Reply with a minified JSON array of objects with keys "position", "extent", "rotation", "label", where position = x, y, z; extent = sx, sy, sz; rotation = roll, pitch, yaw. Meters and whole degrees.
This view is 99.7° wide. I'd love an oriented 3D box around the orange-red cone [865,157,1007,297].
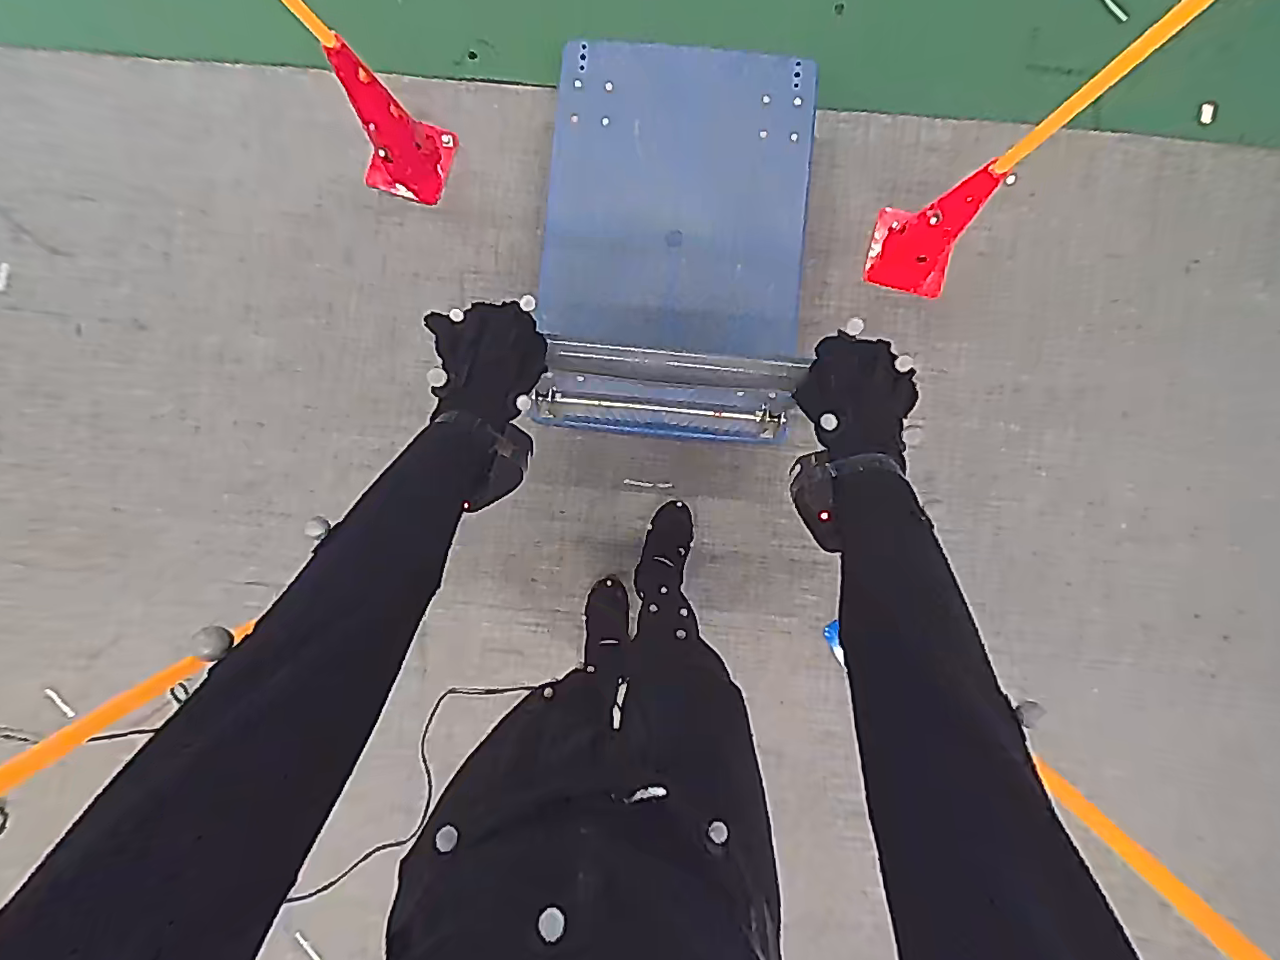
[{"position":[0.680,-0.582,1.193],"extent":[0.198,0.360,0.199],"rotation":[16,88,2],"label":"orange-red cone"}]
